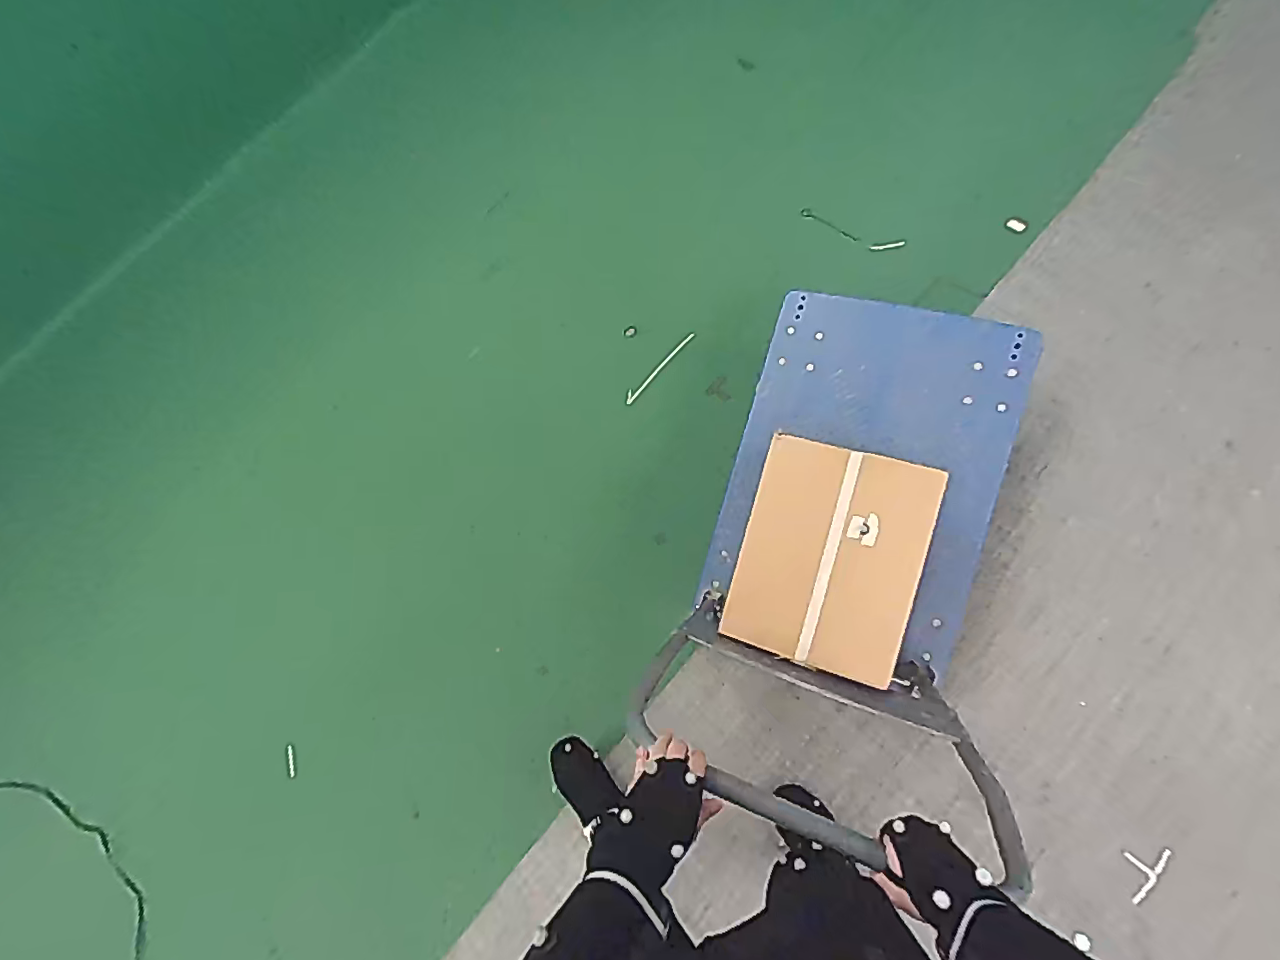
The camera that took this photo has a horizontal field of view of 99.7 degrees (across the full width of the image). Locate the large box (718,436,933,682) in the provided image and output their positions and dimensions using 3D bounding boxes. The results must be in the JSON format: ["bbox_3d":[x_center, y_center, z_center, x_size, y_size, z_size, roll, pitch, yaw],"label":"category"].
[{"bbox_3d":[0.386,0.156,1.162,0.320,0.320,0.408,16,89,17],"label":"large box"}]
